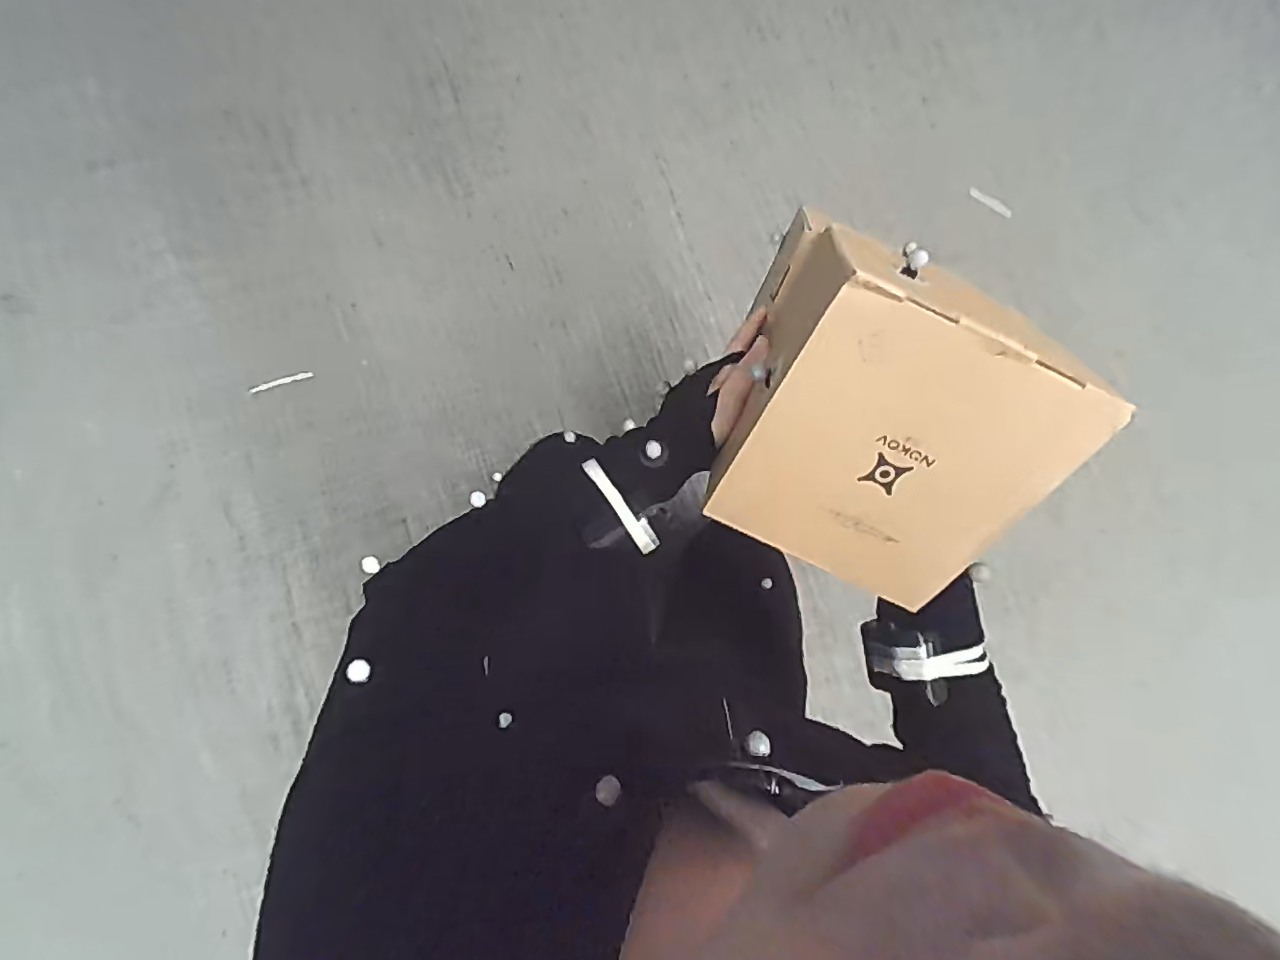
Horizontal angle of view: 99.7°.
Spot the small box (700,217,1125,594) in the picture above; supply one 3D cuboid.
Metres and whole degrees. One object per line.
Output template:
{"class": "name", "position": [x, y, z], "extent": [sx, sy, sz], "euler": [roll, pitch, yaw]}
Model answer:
{"class": "small box", "position": [0.159, -0.061, 0.382], "extent": [0.168, 0.176, 0.179], "euler": [25, 125, -2]}

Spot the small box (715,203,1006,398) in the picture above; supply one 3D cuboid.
{"class": "small box", "position": [0.189, -0.148, 0.517], "extent": [0.179, 0.176, 0.168], "euler": [22, 124, -2]}
